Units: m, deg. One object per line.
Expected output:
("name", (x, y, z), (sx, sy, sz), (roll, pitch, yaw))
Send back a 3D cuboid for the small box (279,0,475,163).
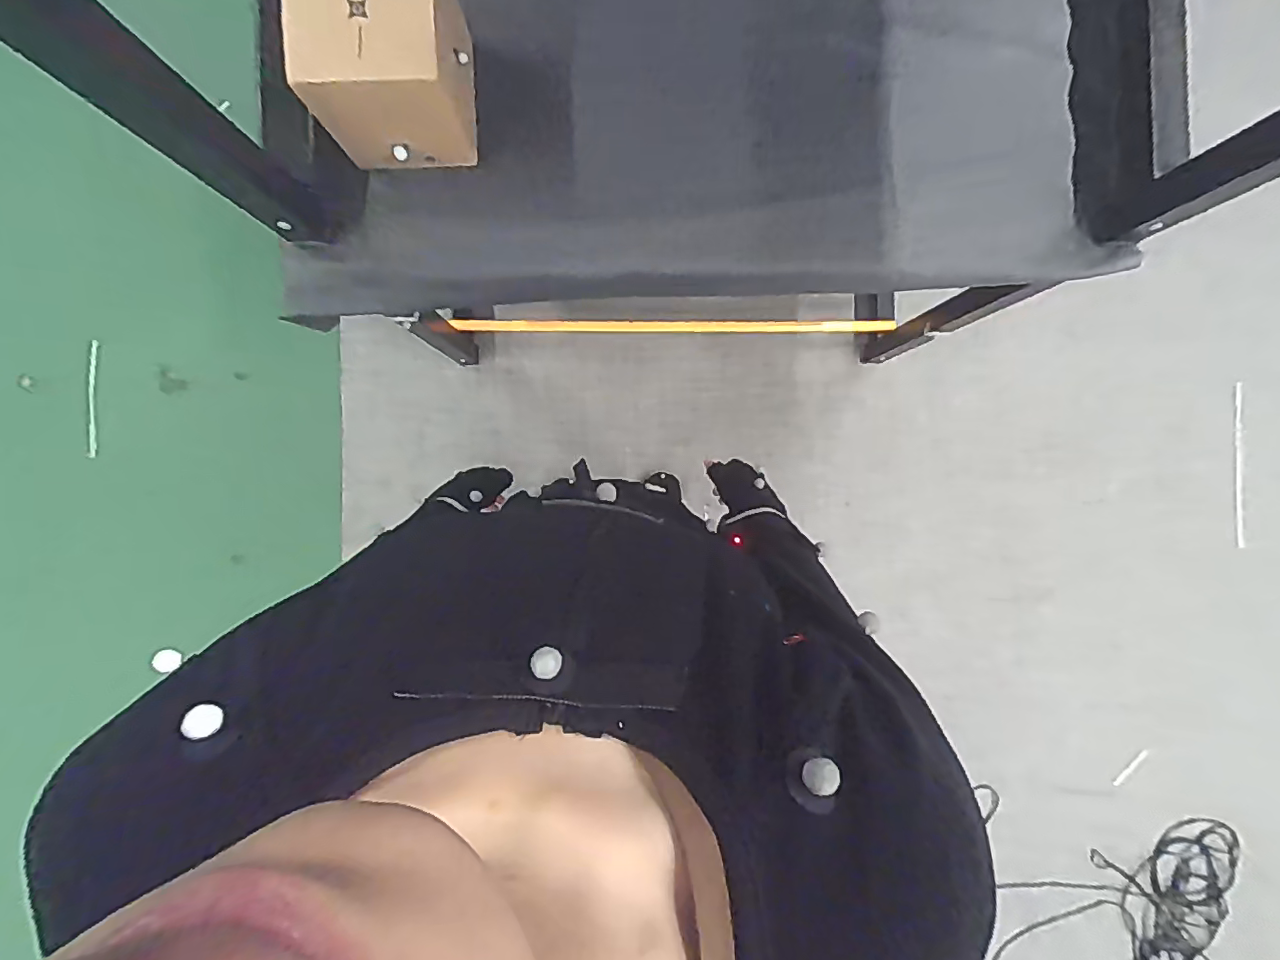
("small box", (-0.308, -0.523, 0.662), (0.168, 0.176, 0.179), (-3, 91, -2))
